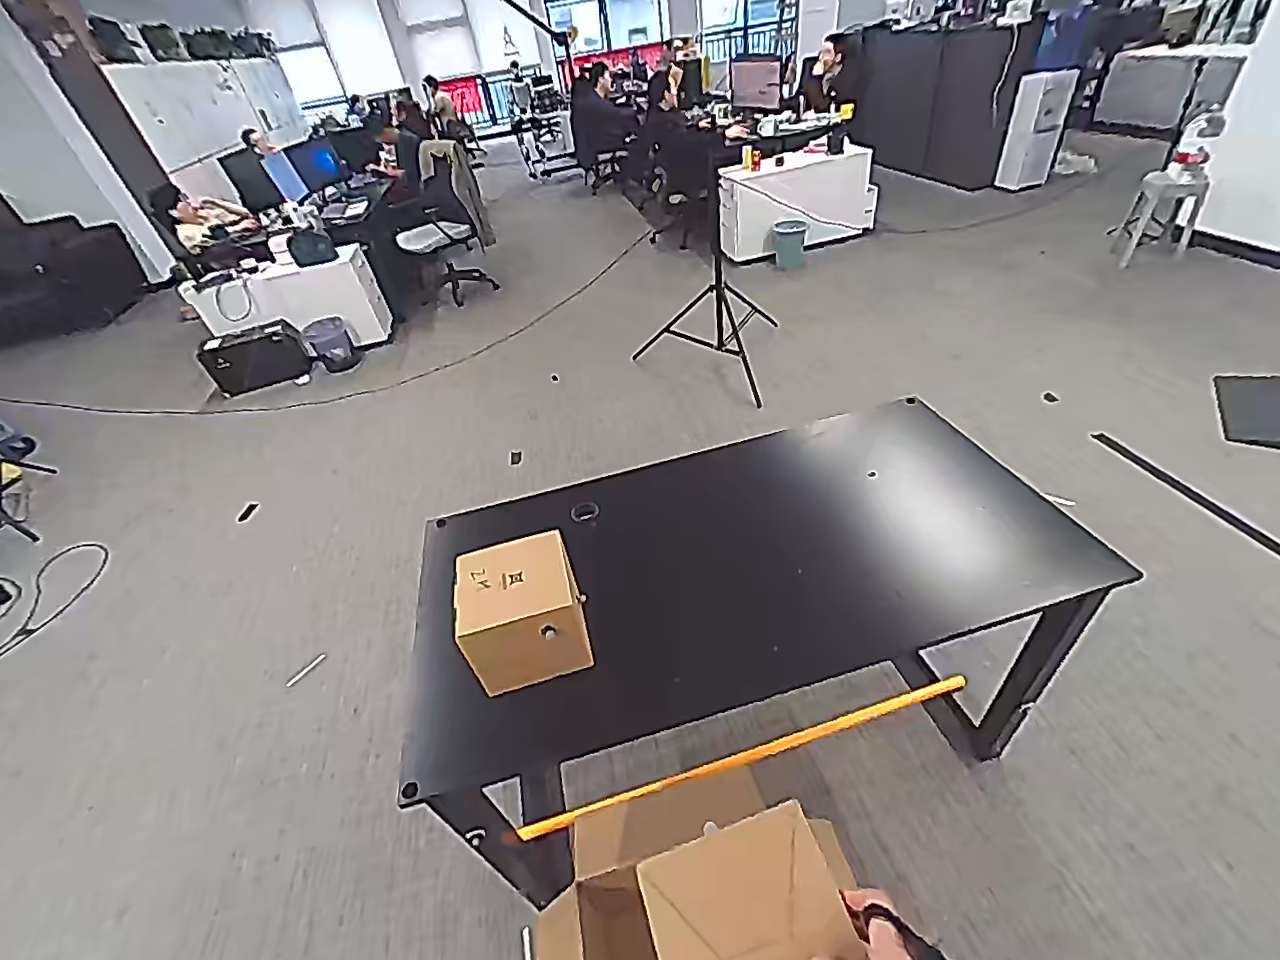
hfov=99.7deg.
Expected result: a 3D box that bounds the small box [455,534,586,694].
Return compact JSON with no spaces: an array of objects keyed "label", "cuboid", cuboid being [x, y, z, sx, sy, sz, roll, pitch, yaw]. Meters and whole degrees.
[{"label":"small box","cuboid":[-0.192,0.220,0.893,0.179,0.176,0.168,-15,39,-6]}]

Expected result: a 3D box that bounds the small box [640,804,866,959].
[{"label":"small box","cuboid":[0.109,0.442,0.512,0.168,0.176,0.179,-20,48,-5]}]
